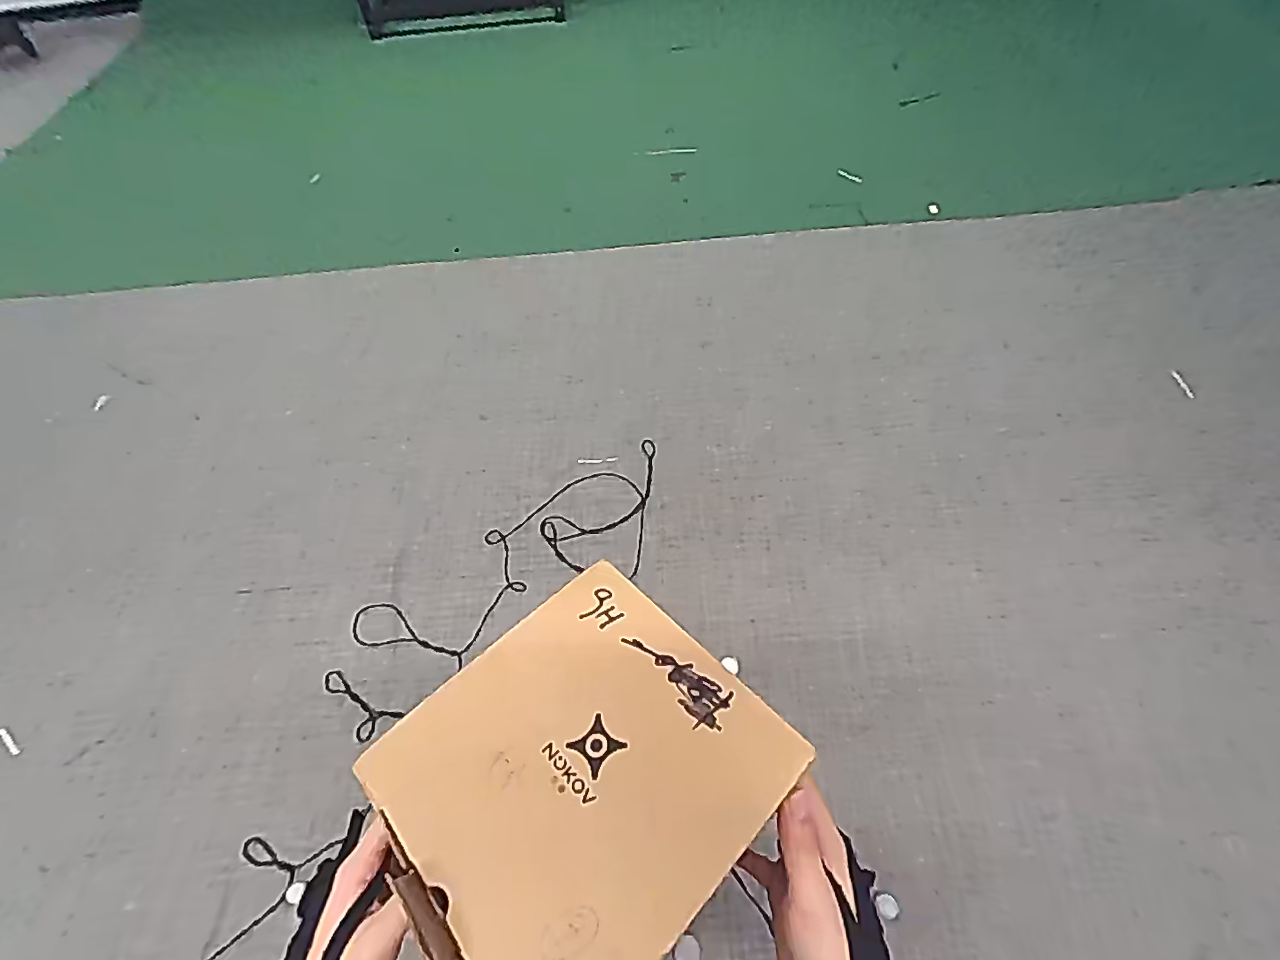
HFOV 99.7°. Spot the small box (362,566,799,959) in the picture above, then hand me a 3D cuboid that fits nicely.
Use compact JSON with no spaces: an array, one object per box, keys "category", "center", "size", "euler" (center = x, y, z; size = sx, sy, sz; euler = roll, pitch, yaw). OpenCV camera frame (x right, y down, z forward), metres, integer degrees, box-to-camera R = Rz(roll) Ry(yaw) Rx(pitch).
[{"category":"small box","center":[-0.027,0.197,0.342],"size":[0.179,0.176,0.168],"euler":[-38,57,-25]}]
